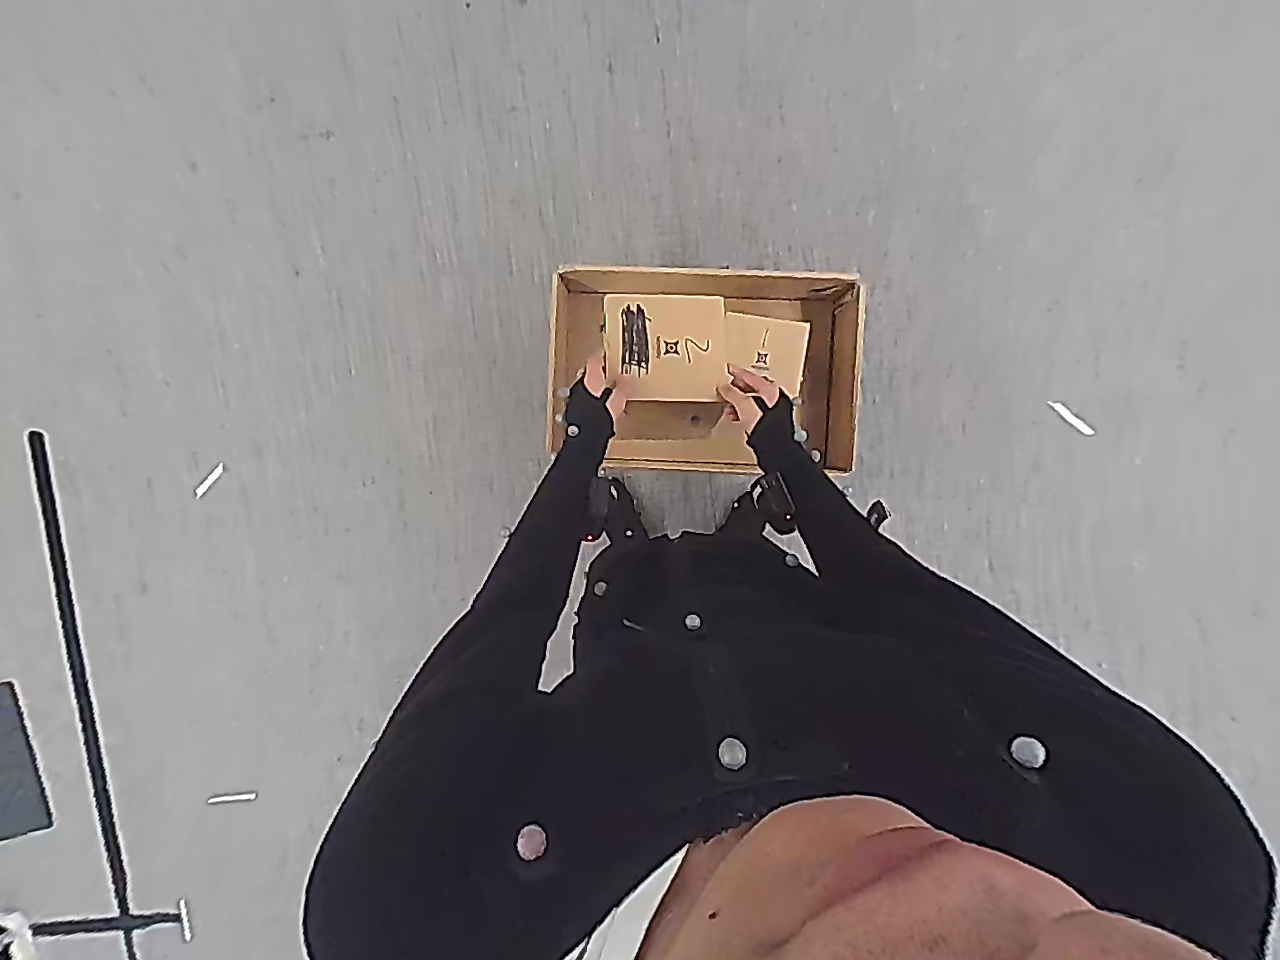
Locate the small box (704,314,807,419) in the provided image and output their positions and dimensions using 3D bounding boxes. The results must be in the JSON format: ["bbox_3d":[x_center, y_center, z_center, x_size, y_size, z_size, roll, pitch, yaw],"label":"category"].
[{"bbox_3d":[0.229,-0.225,1.119,0.168,0.176,0.179,9,92,1],"label":"small box"}]
